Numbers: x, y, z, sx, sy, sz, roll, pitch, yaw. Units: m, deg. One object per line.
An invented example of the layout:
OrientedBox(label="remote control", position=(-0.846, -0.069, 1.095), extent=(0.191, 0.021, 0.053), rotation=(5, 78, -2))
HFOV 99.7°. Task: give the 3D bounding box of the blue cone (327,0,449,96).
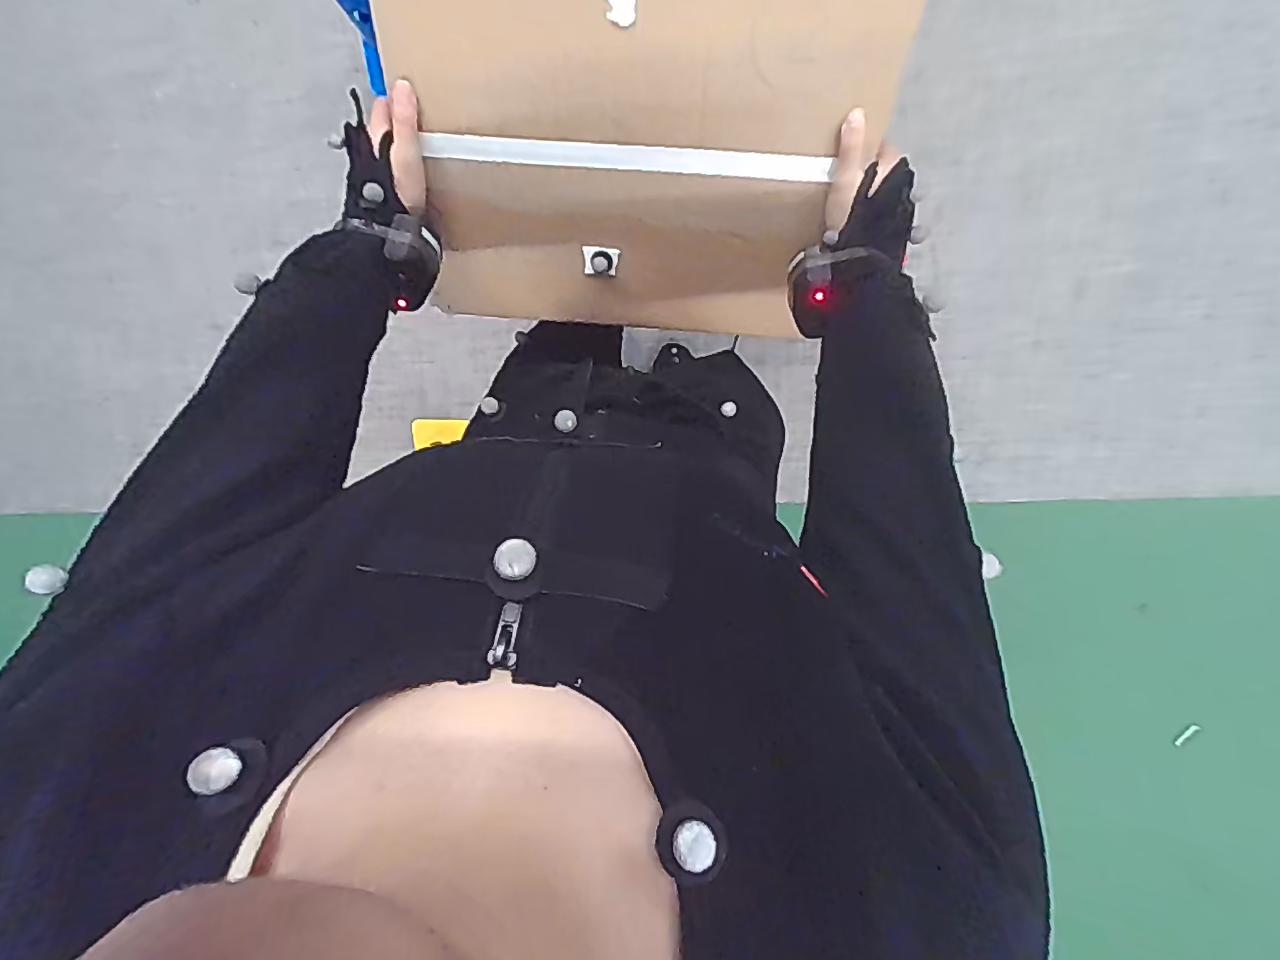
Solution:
OrientedBox(label="blue cone", position=(-0.507, -0.863, 0.958), extent=(0.192, 0.380, 0.193), rotation=(0, 107, 6))

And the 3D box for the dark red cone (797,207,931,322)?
OrientedBox(label="dark red cone", position=(0.418, -0.390, 0.974), extent=(0.202, 0.394, 0.201), rotation=(-8, 109, 8))
